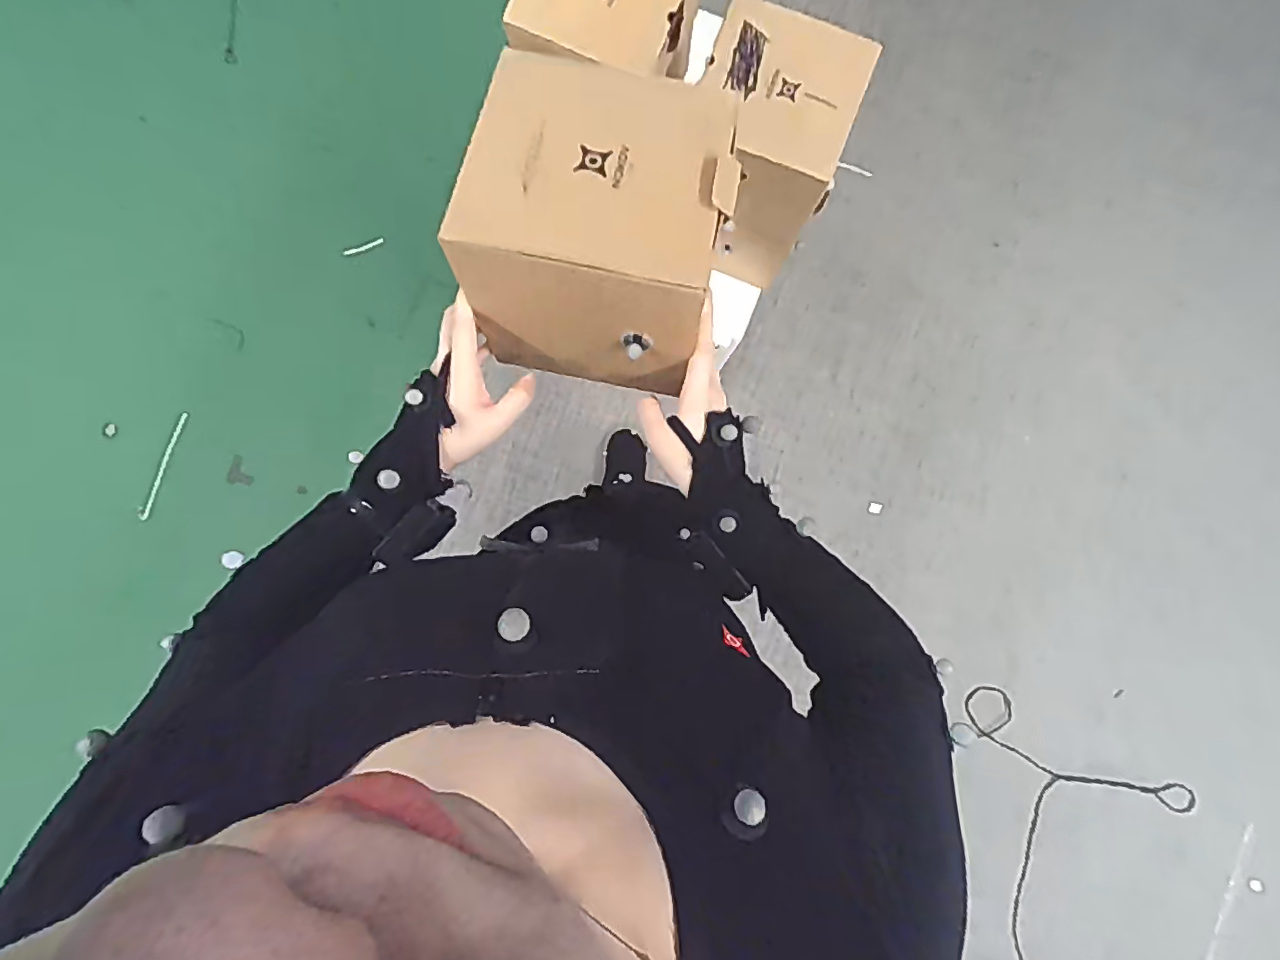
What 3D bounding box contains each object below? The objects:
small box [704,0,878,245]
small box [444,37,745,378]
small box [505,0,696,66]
[{"bbox_3d":[0.154,-0.426,0.676,0.179,0.176,0.168,22,88,1],"label":"small box"},{"bbox_3d":[-0.028,-0.200,0.439,0.179,0.176,0.168,11,74,1],"label":"small box"},{"bbox_3d":[-0.043,-0.539,0.677,0.179,0.176,0.168,22,88,-3],"label":"small box"}]
